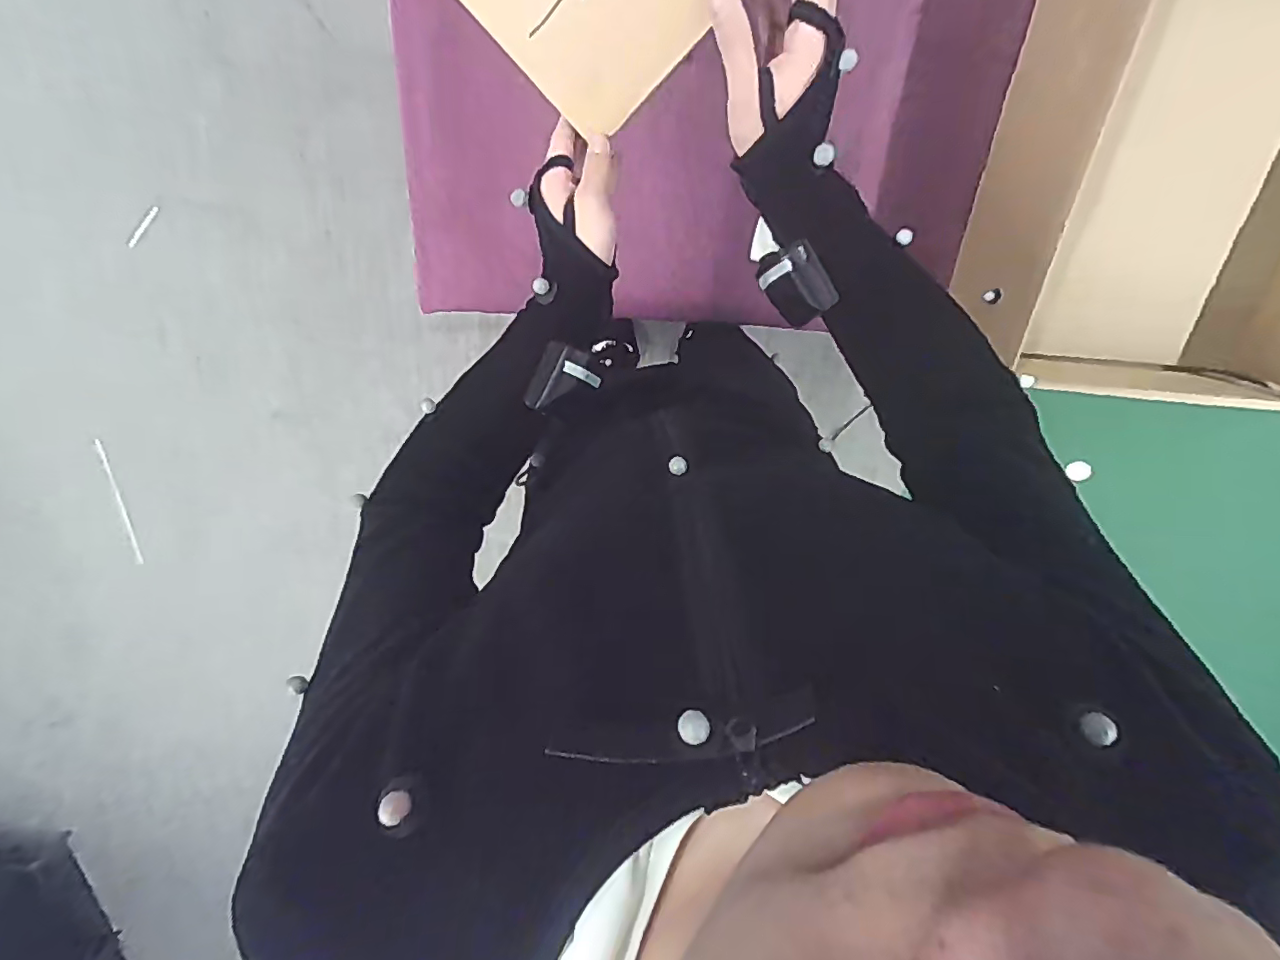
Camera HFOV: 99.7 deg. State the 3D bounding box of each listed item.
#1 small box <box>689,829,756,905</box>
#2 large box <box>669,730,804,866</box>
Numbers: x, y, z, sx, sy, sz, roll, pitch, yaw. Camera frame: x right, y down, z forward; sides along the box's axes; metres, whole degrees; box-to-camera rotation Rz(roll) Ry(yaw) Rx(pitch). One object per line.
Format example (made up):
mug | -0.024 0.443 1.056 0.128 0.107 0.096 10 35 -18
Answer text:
small box | 0.281 1.363 1.882 0.179 0.176 0.168 -26 111 11
large box | 0.360 1.257 2.104 0.408 0.320 0.320 -26 113 10
